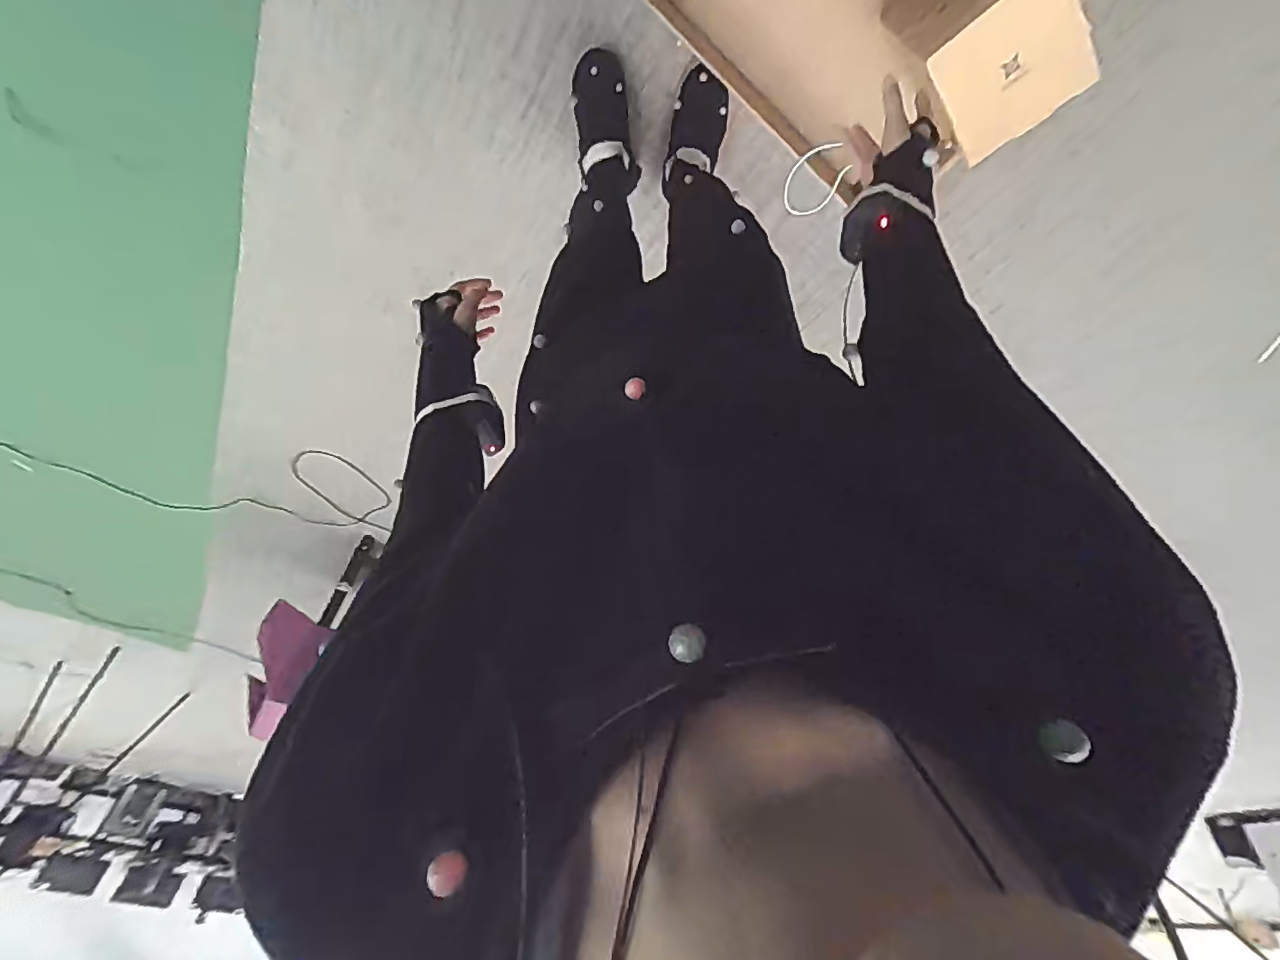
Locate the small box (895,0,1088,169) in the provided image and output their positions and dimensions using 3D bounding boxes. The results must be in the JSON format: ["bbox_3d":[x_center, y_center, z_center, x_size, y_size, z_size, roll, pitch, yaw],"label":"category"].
[{"bbox_3d":[0.497,-0.604,0.785,0.168,0.176,0.179,-28,127,33],"label":"small box"}]
